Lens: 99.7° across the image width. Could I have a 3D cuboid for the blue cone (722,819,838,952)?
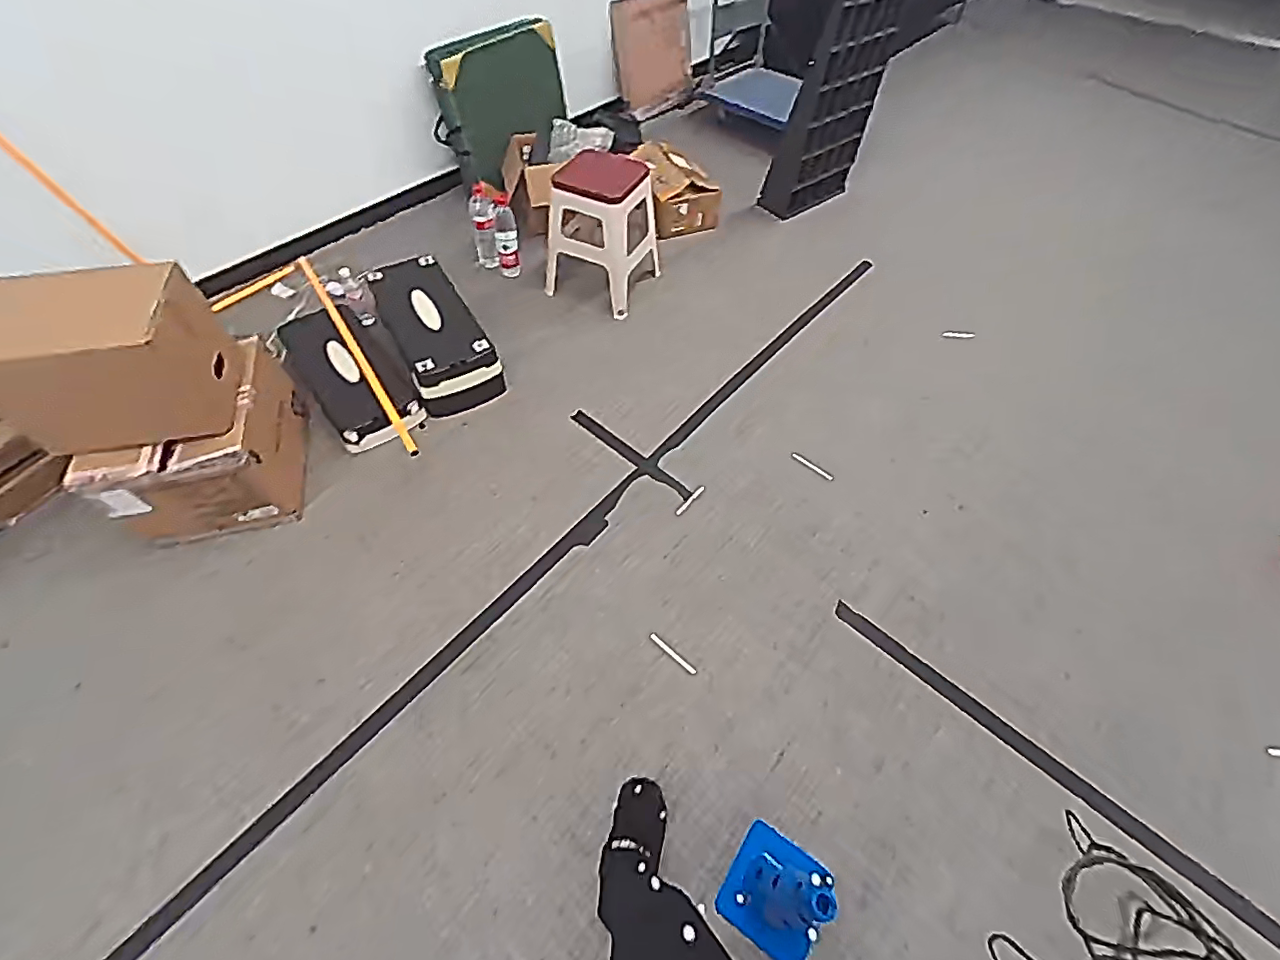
[{"bbox_3d":[0.293,0.763,1.016,0.193,0.380,0.192,32,60,20],"label":"blue cone"}]
